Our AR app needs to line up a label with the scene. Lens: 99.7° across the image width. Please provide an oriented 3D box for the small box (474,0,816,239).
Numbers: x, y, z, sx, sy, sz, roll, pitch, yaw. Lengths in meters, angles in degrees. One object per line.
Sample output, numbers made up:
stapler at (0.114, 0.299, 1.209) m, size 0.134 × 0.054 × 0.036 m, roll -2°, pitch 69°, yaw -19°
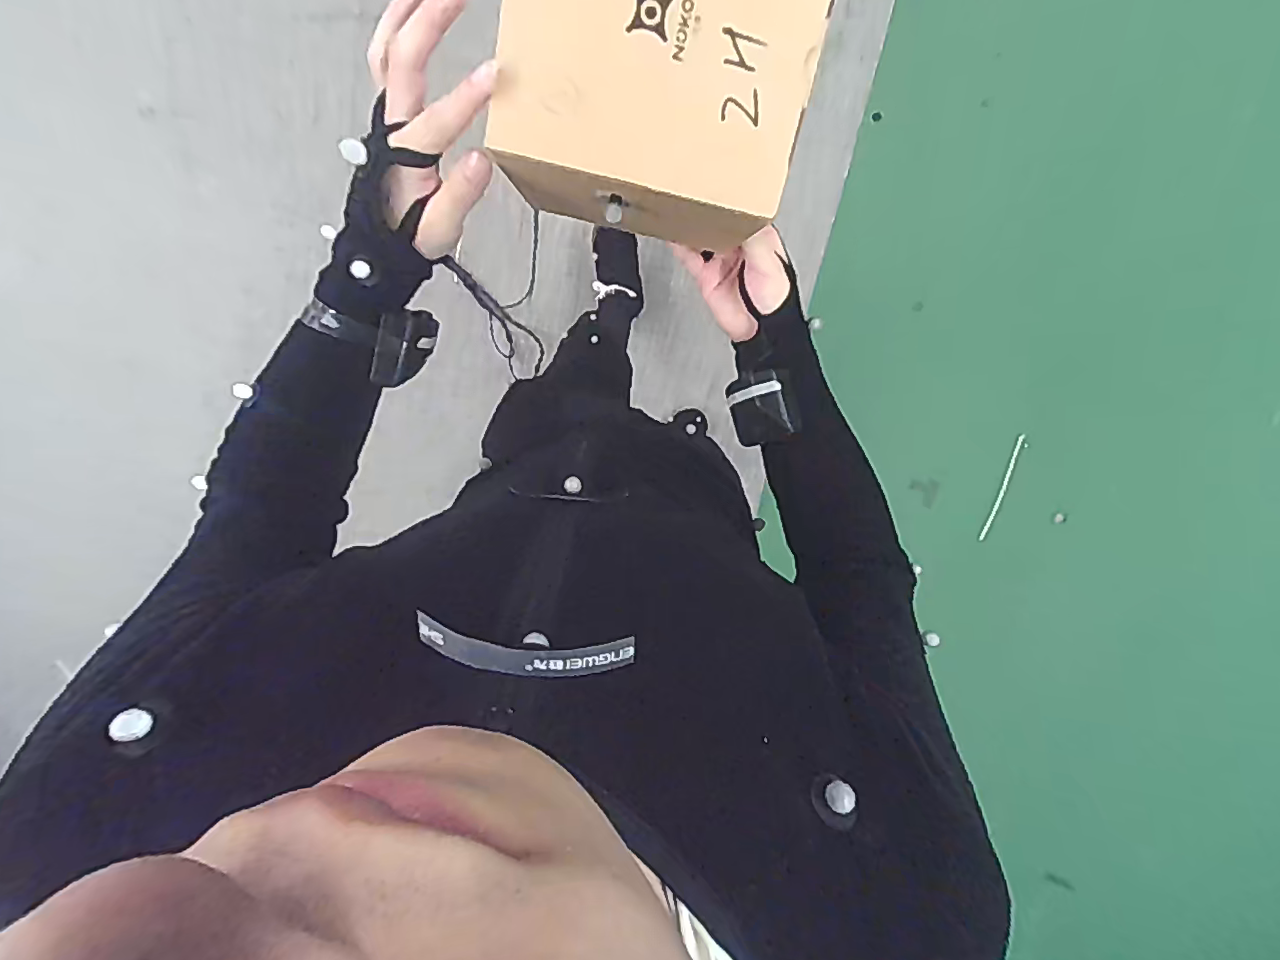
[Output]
small box at (0.005, -0.276, 0.370) m, size 0.179 × 0.176 × 0.168 m, roll 11°, pitch 107°, yaw -4°
